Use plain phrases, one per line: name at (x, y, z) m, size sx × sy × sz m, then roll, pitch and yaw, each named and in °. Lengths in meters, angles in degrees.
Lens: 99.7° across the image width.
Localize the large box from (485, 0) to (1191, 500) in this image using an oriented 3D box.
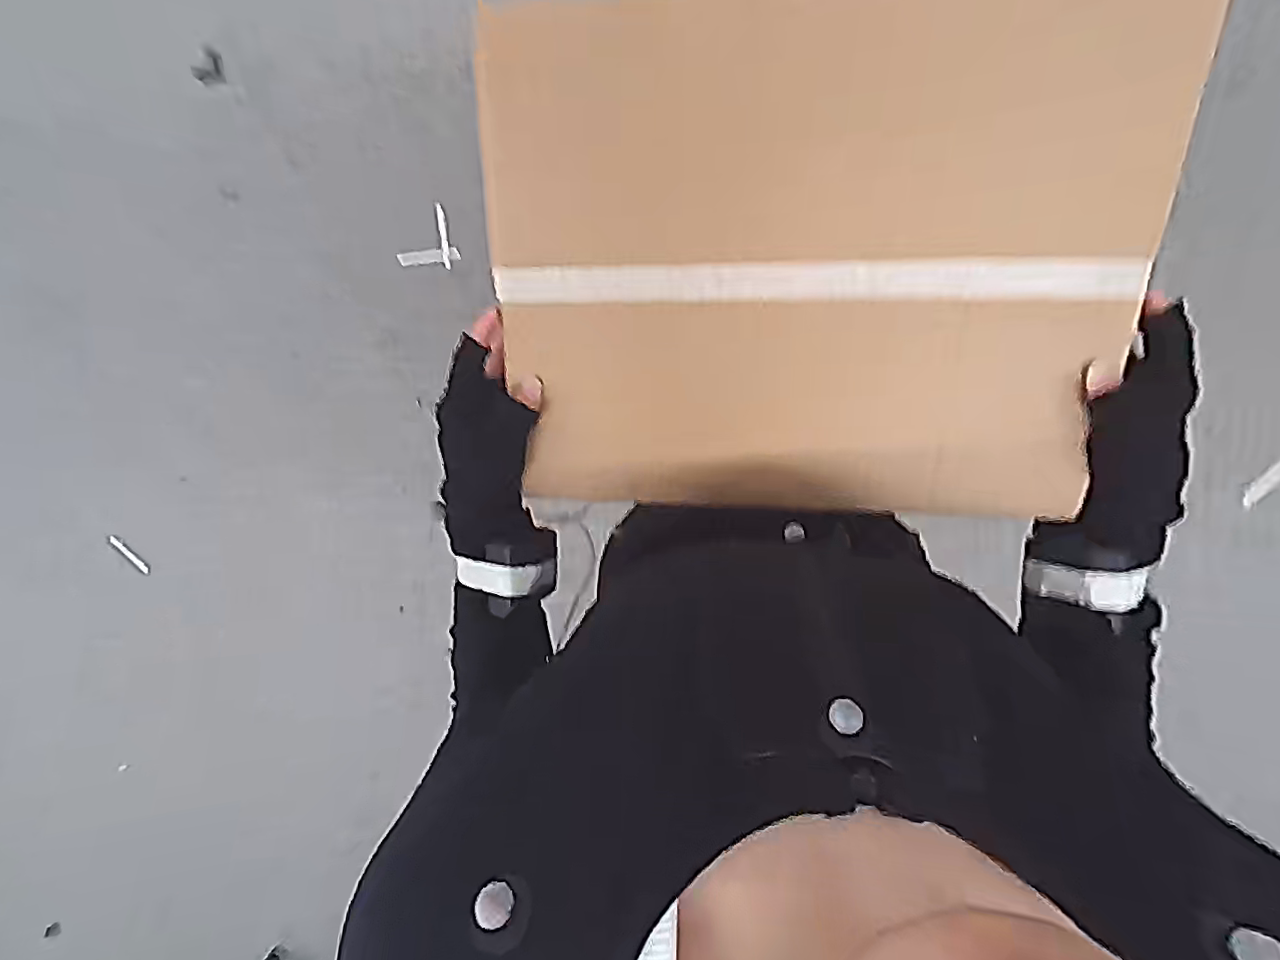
large box at (0.117, -0.183, 0.499) m, size 0.408 × 0.320 × 0.320 m, roll 2°, pitch 111°, yaw 6°
